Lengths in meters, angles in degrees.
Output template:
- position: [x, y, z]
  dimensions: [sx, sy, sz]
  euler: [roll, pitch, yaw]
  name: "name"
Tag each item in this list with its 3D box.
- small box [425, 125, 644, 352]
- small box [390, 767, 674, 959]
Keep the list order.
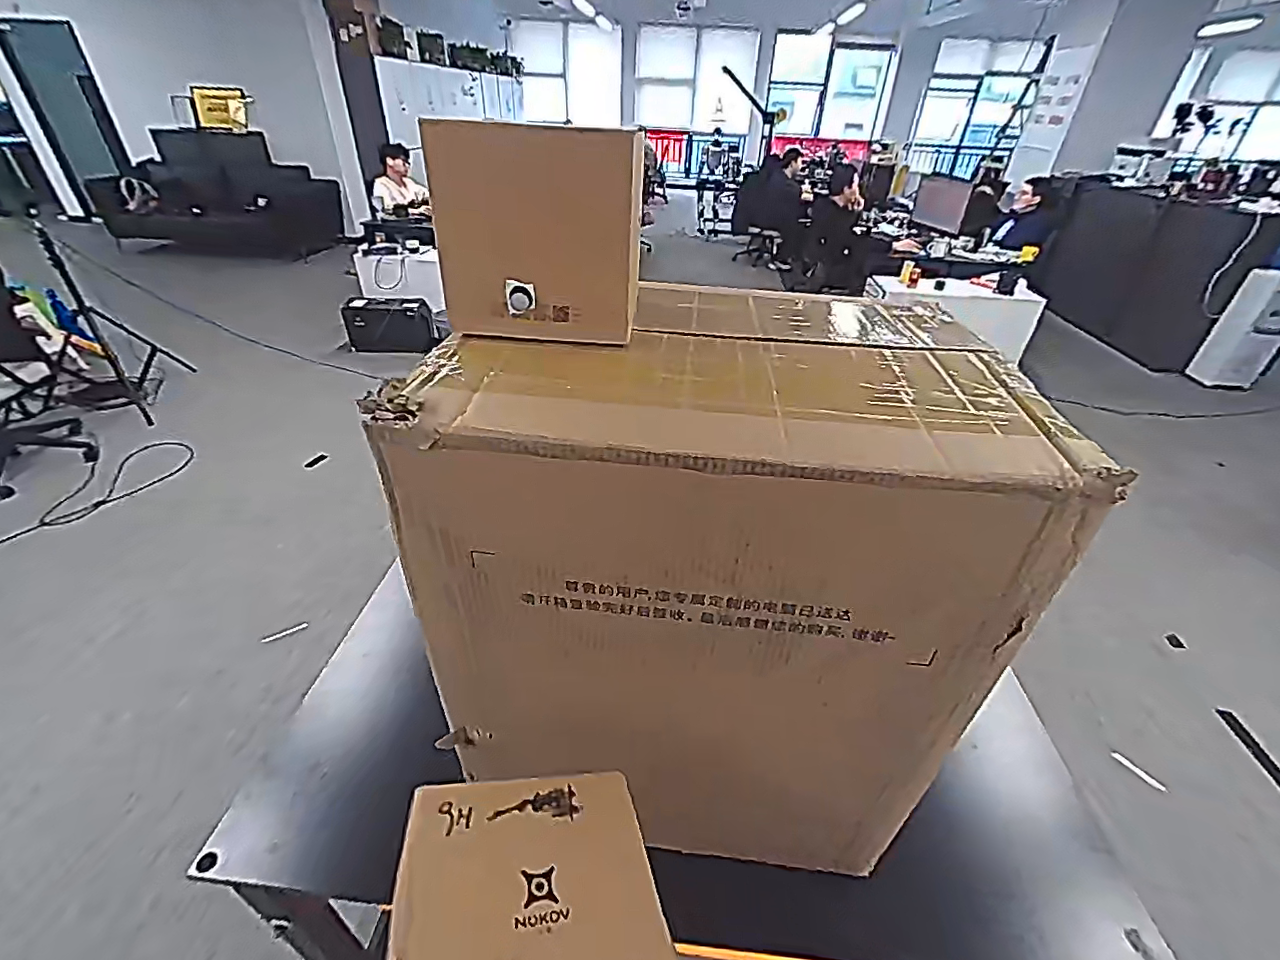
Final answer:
- position: [-0.084, -0.235, 0.521]
  dimensions: [0.168, 0.176, 0.179]
  euler: [2, 34, 1]
  name: "small box"
- position: [-0.087, 0.342, 0.384]
  dimensions: [0.168, 0.176, 0.179]
  euler: [7, 27, -22]
  name: "small box"
